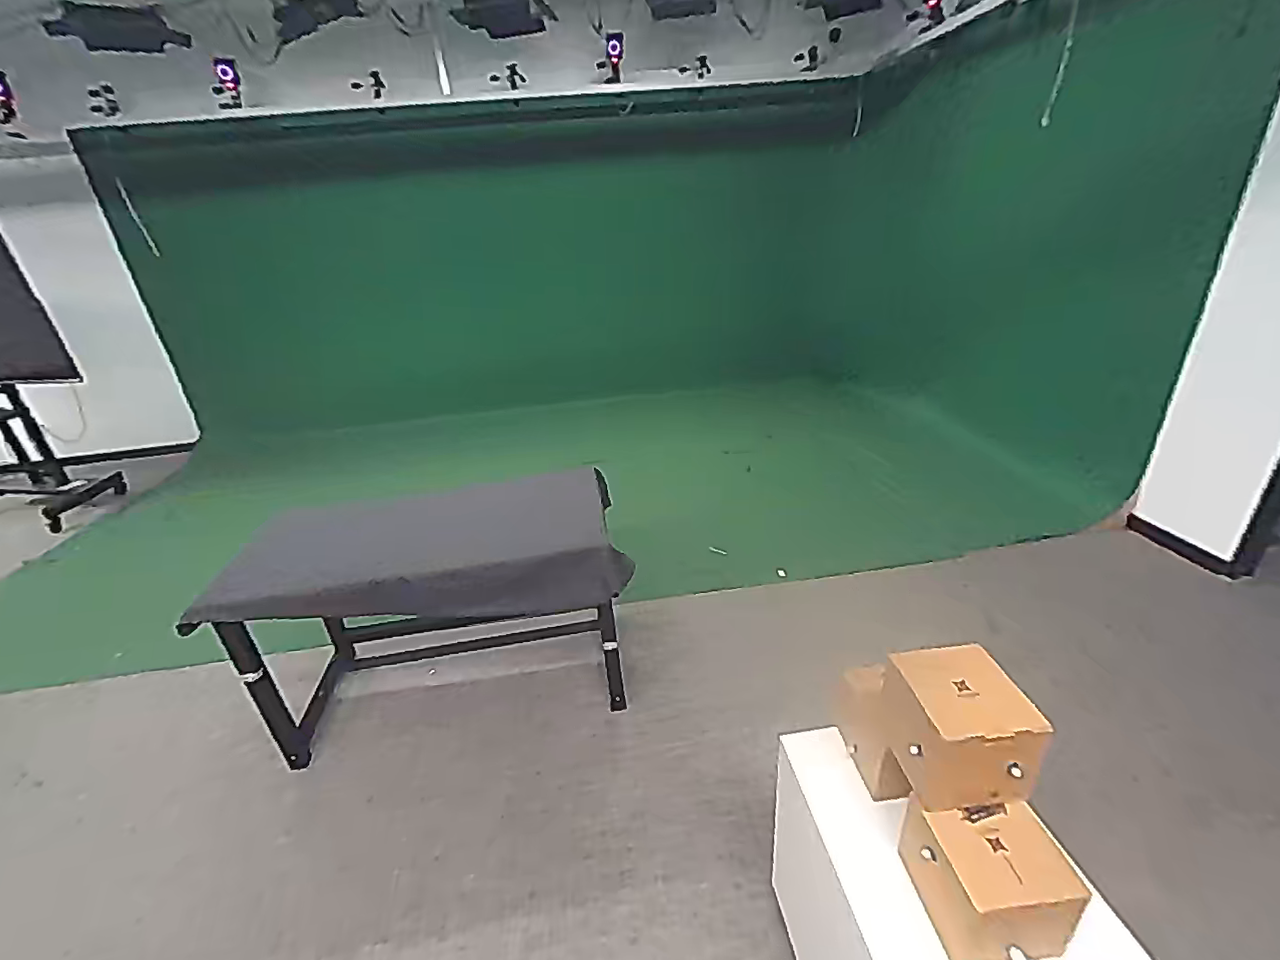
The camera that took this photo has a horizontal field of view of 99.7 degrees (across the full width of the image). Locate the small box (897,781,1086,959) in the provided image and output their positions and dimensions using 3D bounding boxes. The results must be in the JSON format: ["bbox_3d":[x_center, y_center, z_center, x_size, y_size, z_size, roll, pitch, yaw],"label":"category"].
[{"bbox_3d":[0.526,0.593,0.841,0.168,0.176,0.179,-6,27,-2],"label":"small box"}]

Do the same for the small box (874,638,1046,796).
[{"bbox_3d":[0.508,0.390,0.888,0.168,0.176,0.179,-5,26,-3],"label":"small box"}]

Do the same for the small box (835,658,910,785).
[{"bbox_3d":[0.506,0.478,1.073,0.168,0.176,0.179,-6,29,-4],"label":"small box"}]
